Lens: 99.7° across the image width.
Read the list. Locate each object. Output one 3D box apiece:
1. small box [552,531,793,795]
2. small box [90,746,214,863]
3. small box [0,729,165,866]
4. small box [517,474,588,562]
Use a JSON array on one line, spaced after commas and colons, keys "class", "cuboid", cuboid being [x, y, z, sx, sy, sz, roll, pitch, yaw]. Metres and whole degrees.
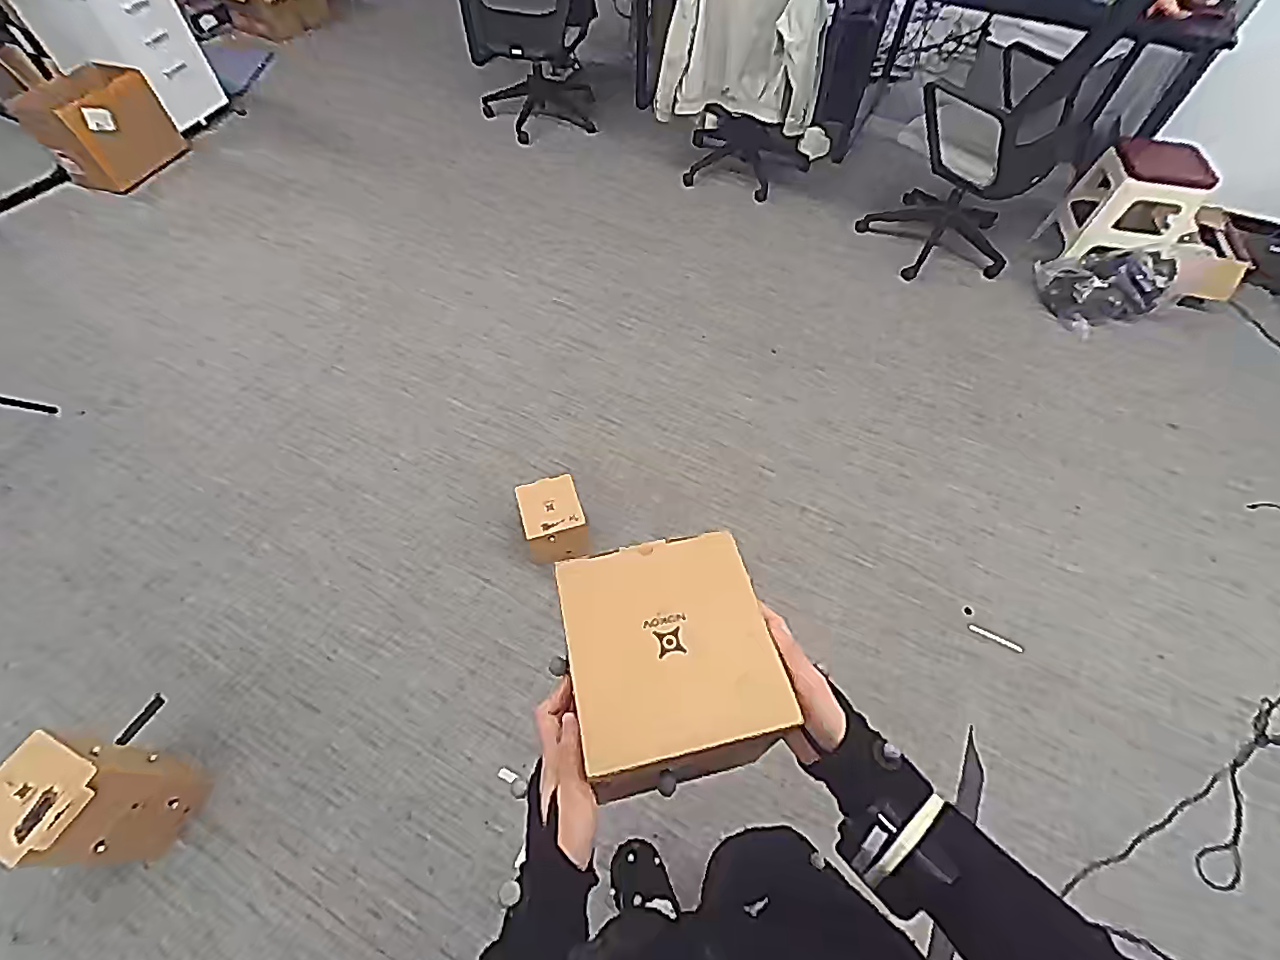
[{"class": "small box", "cuboid": [0.019, 0.176, 0.504, 0.168, 0.176, 0.179, -10, 53, -9]}, {"class": "small box", "cuboid": [-1.098, 0.700, 1.178, 0.179, 0.176, 0.168, 19, 58, 12]}, {"class": "small box", "cuboid": [-1.092, 0.607, 1.042, 0.179, 0.176, 0.168, 21, 59, 12]}, {"class": "small box", "cuboid": [-0.251, 0.112, 1.570, 0.168, 0.176, 0.179, -15, 59, -11]}]
